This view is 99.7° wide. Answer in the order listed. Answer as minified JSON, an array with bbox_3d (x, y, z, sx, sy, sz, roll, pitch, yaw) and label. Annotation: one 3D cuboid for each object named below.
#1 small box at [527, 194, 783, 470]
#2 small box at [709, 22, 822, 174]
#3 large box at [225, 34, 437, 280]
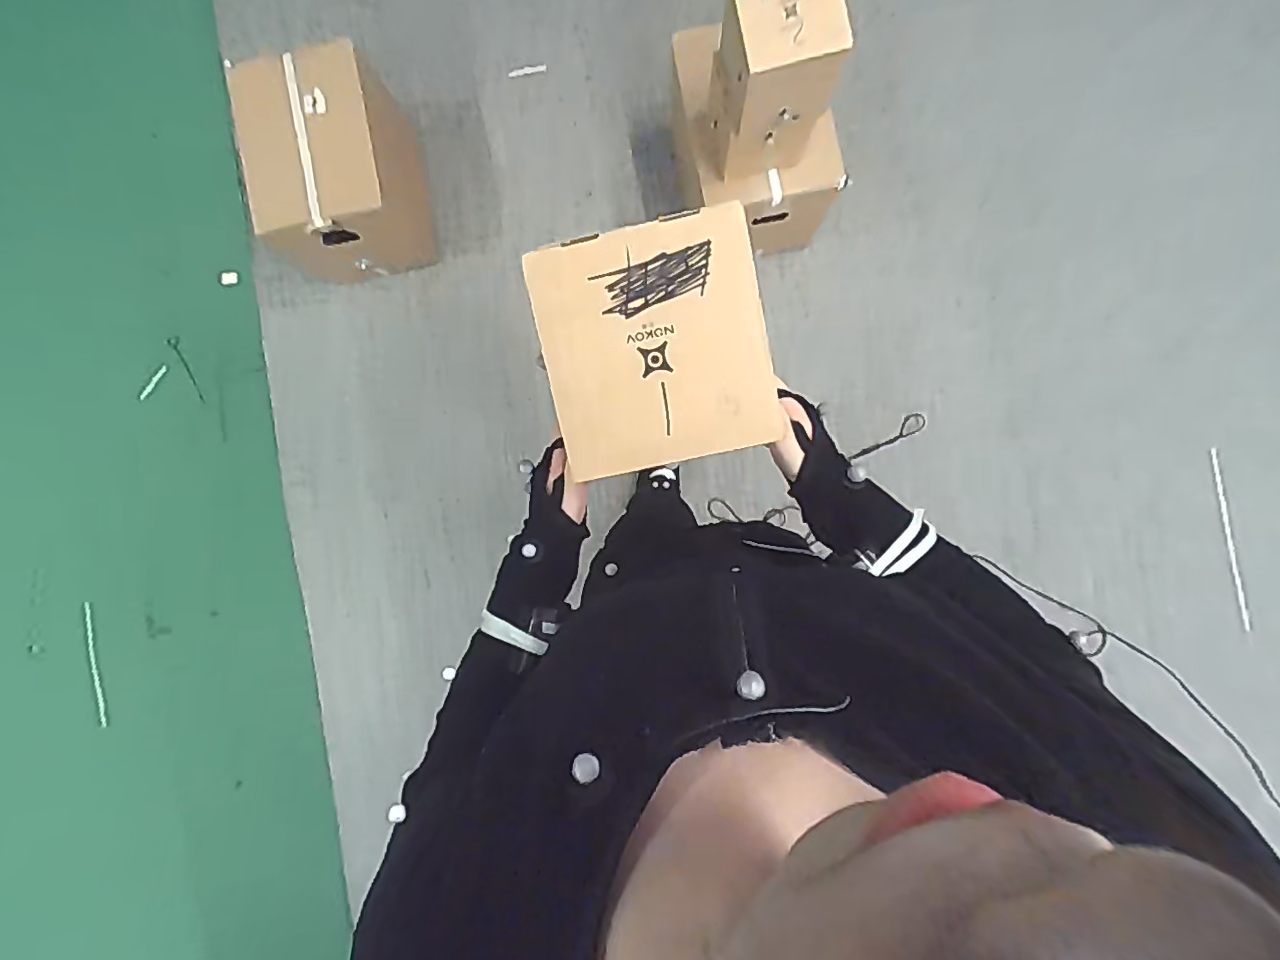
[{"bbox_3d":[0.015,-0.117,0.478,0.168,0.176,0.179,-11,99,5],"label":"small box"},{"bbox_3d":[0.244,-0.755,1.089,0.179,0.176,0.168,-12,90,5],"label":"small box"},{"bbox_3d":[-0.761,-0.789,1.380,0.320,0.320,0.408,-11,89,3],"label":"large box"}]
